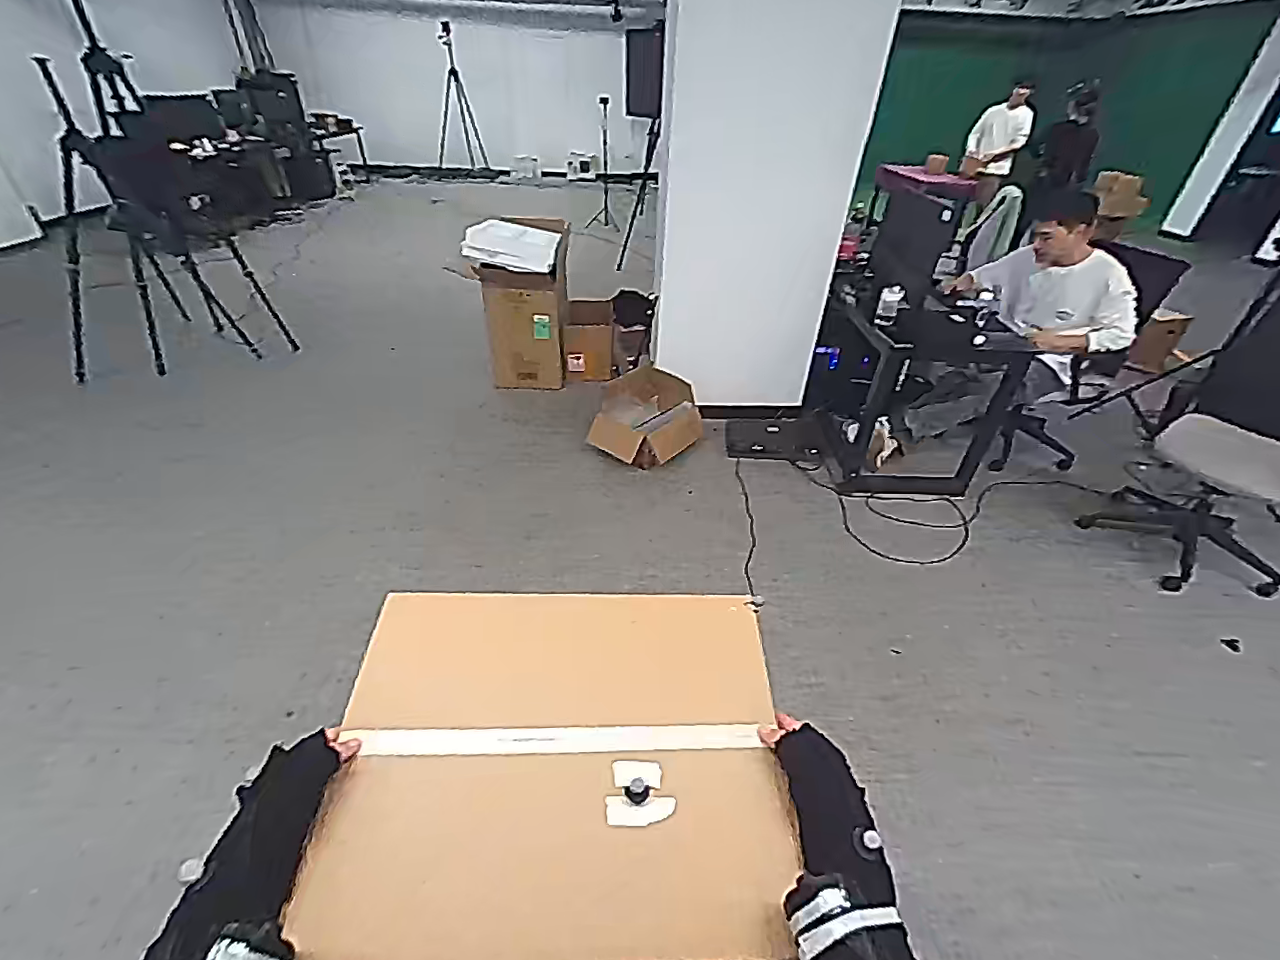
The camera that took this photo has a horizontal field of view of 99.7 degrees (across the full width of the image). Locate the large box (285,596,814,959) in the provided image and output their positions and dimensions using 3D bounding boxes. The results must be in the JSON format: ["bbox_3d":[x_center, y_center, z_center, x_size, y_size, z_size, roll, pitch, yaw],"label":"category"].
[{"bbox_3d":[-0.078,0.346,0.611,0.408,0.320,0.320,2,46,-4],"label":"large box"}]
